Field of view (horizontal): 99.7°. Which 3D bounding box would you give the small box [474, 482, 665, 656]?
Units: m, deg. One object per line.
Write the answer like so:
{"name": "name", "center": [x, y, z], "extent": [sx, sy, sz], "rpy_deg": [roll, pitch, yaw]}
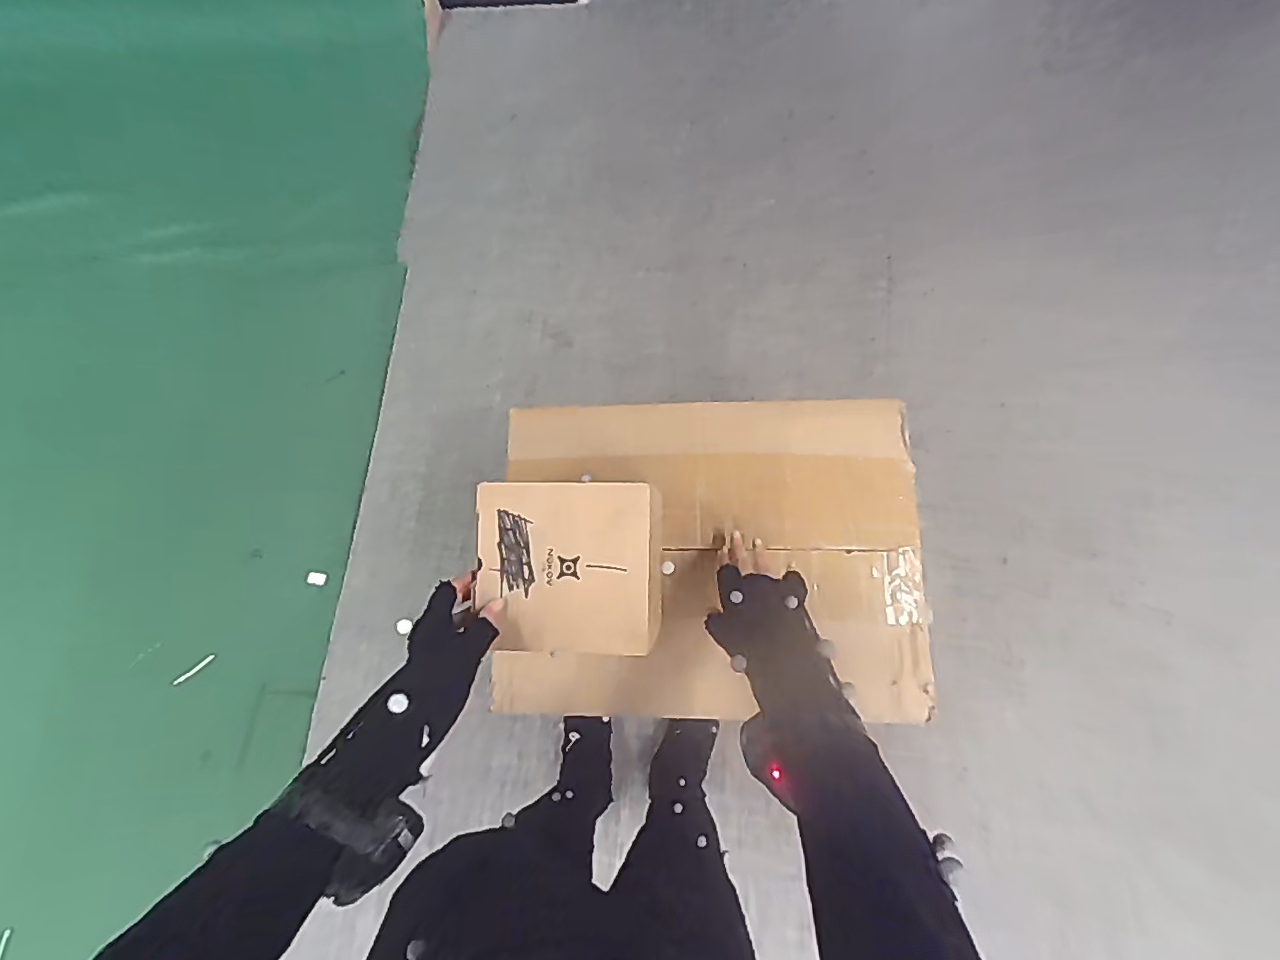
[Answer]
{"name": "small box", "center": [-0.066, 0.093, 0.605], "extent": [0.179, 0.176, 0.168], "rpy_deg": [0, 84, 6]}
